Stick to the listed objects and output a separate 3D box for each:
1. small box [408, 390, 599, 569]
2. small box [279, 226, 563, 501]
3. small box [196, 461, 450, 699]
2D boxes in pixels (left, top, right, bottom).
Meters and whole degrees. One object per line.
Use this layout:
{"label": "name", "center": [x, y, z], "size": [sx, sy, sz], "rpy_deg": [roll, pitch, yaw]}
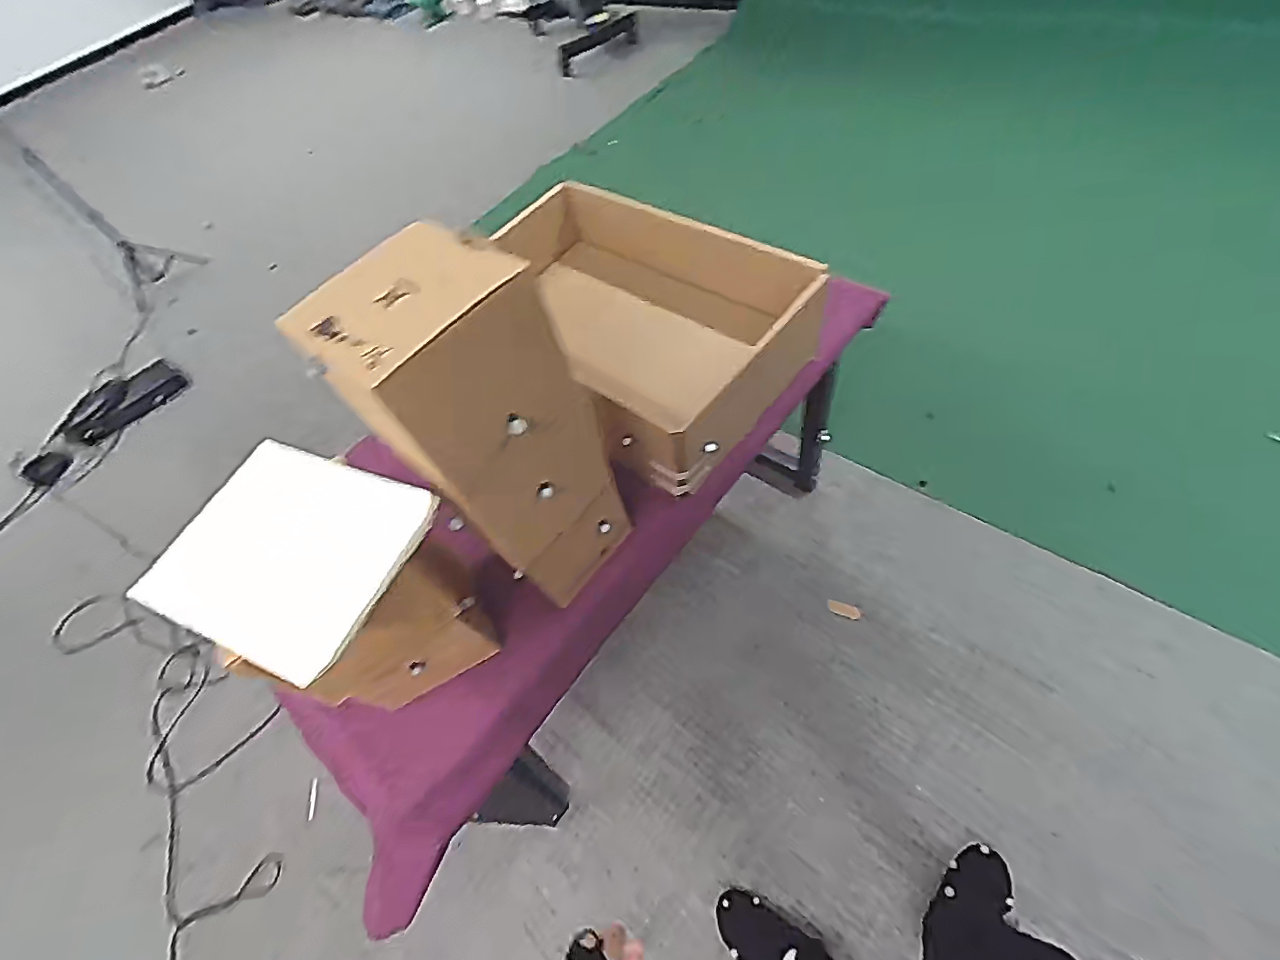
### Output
{"label": "small box", "center": [-0.168, -0.024, 0.675], "size": [0.168, 0.176, 0.179], "rpy_deg": [32, 68, 29]}
{"label": "small box", "center": [-0.197, -0.114, 0.541], "size": [0.168, 0.176, 0.179], "rpy_deg": [31, 67, 29]}
{"label": "small box", "center": [-0.345, 0.118, 0.620], "size": [0.179, 0.176, 0.168], "rpy_deg": [-37, 58, -13]}
